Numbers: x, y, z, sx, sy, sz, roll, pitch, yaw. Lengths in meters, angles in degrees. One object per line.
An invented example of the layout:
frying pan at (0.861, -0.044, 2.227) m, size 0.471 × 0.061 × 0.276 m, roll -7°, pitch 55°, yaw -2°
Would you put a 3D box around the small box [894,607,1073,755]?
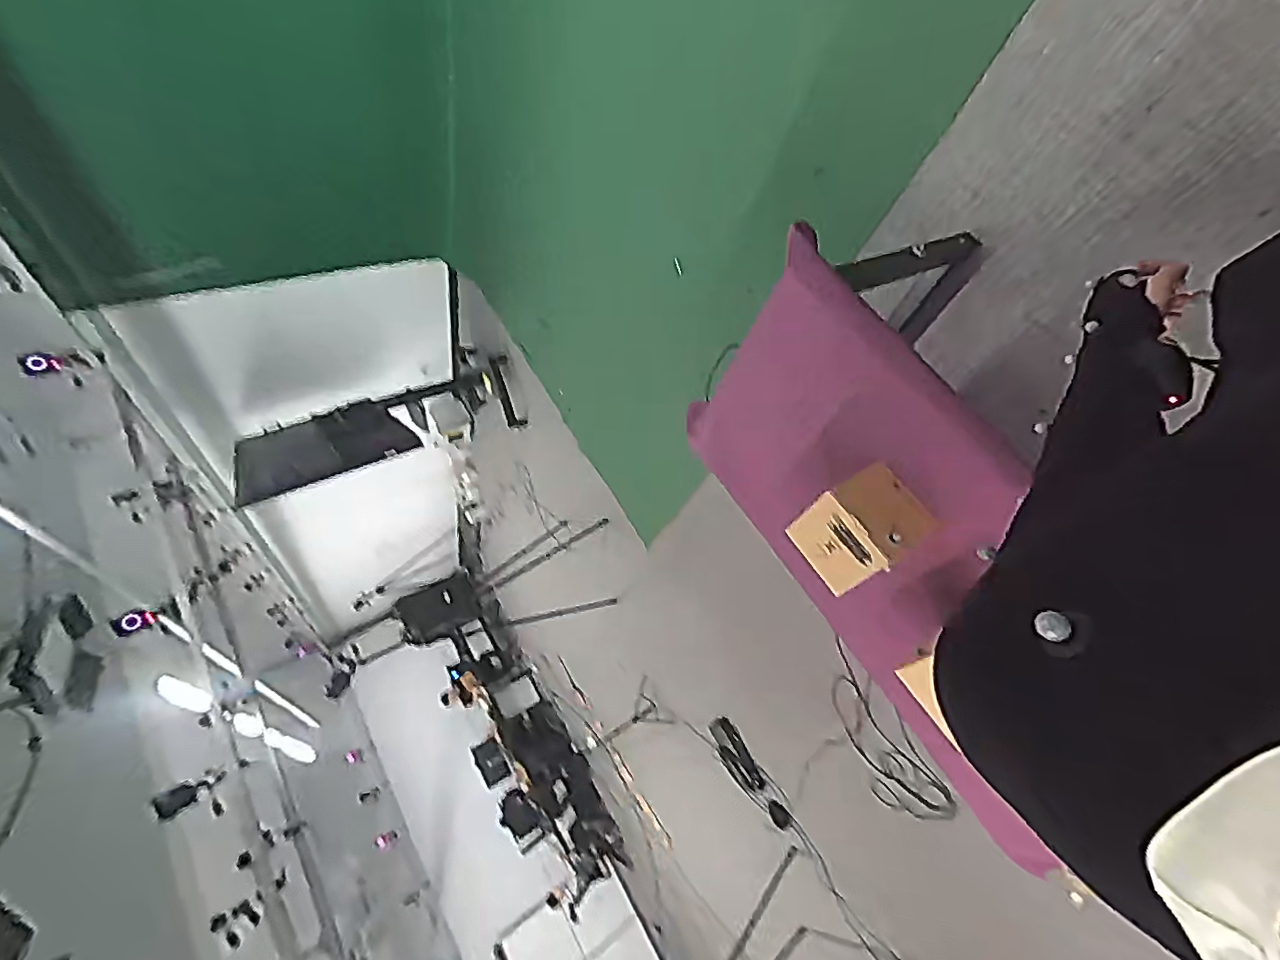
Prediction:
small box at (0.608, 0.356, 0.963) m, size 0.168 × 0.176 × 0.179 m, roll 54°, pitch 148°, yaw 21°
